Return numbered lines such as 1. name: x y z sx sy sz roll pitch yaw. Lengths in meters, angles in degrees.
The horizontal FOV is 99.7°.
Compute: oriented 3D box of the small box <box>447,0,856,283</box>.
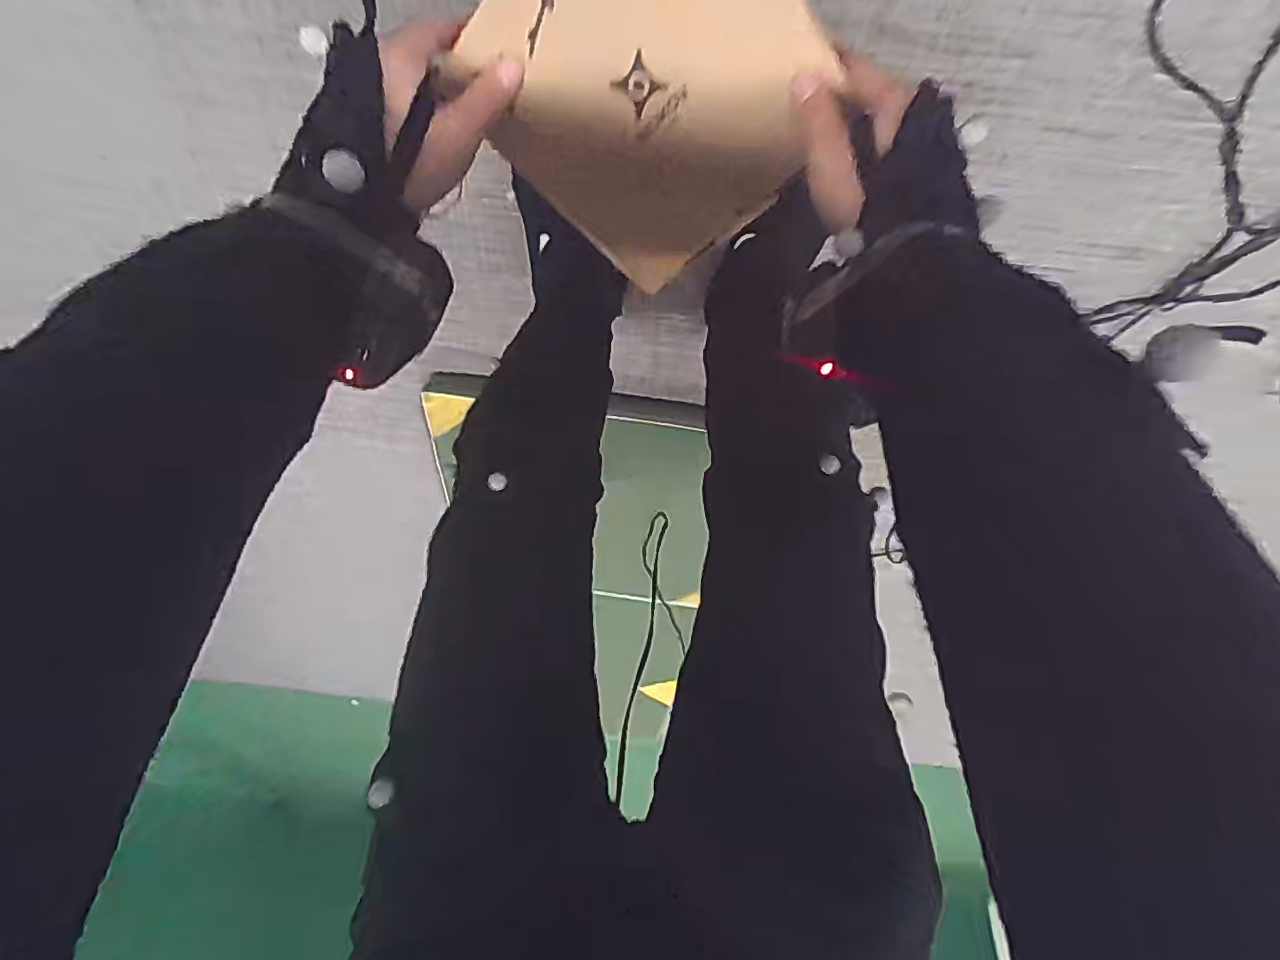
1. small box: 0.014 -0.277 0.352 0.168 0.176 0.179 -29 131 35
